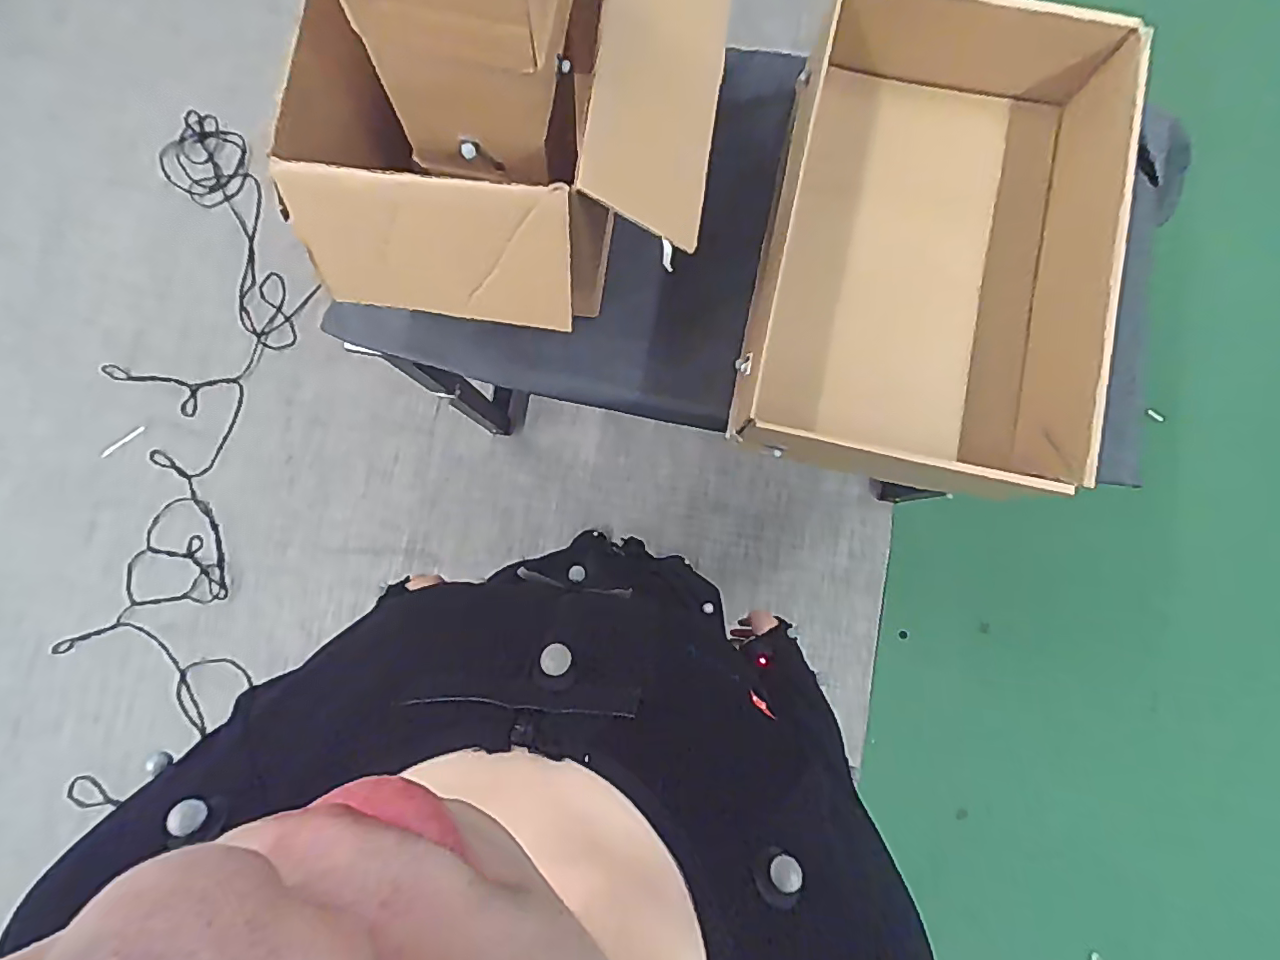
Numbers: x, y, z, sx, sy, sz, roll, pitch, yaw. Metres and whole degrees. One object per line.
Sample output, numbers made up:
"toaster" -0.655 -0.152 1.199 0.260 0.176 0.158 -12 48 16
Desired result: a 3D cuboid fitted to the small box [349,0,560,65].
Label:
"small box" -0.156 -0.482 0.431 0.179 0.176 0.168 11 82 -3
